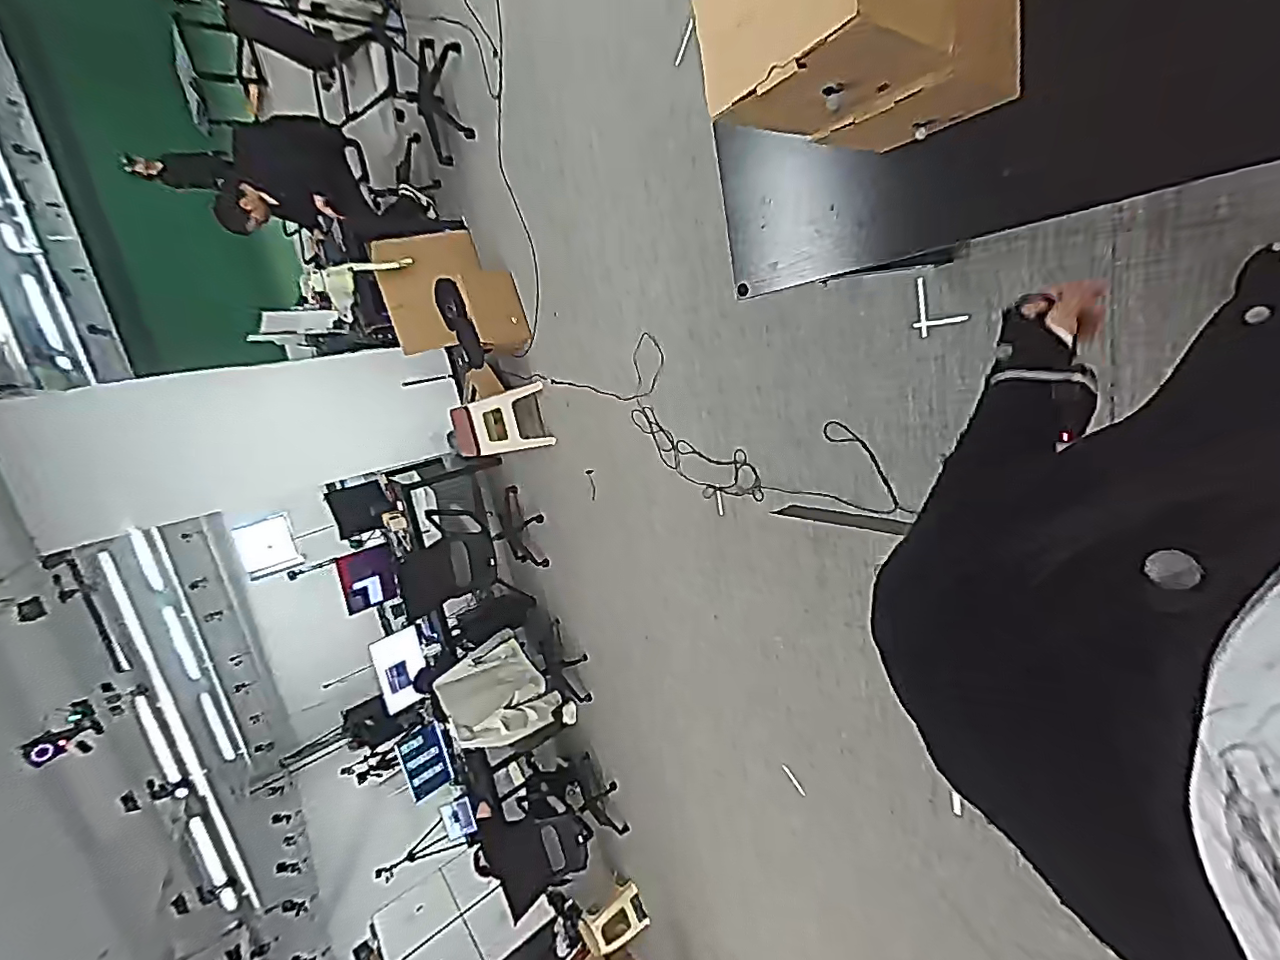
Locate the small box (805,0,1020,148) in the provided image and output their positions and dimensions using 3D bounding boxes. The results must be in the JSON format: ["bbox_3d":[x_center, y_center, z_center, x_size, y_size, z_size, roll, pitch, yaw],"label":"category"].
[{"bbox_3d":[0.296,-0.495,0.598,0.168,0.176,0.179,9,113,52],"label":"small box"}]

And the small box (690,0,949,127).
[{"bbox_3d":[0.165,-0.458,0.505,0.168,0.176,0.179,4,110,53],"label":"small box"}]
